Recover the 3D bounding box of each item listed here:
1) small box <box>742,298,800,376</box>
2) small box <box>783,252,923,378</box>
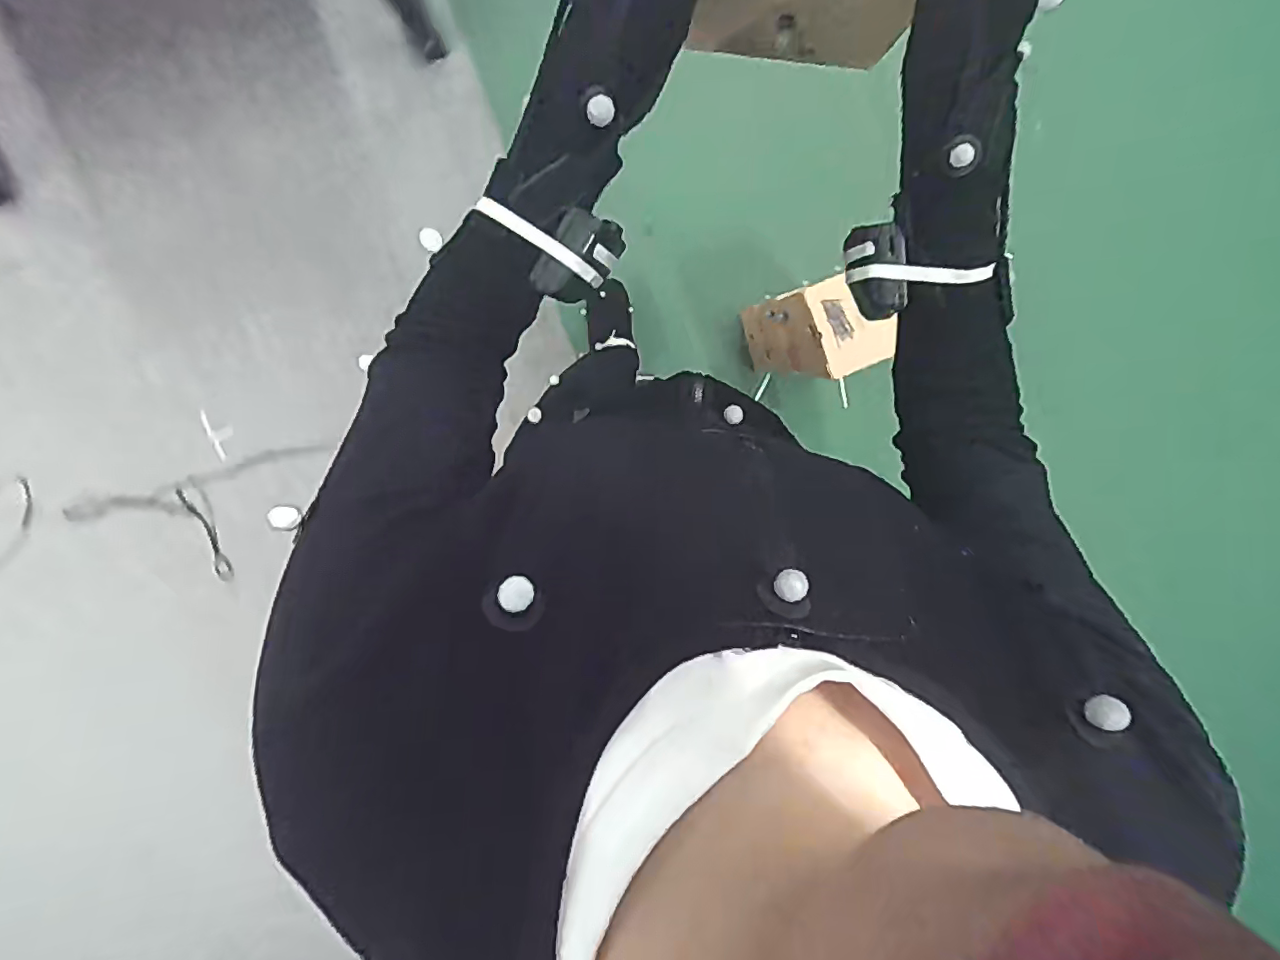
[{"bbox_3d":[0.365,-0.362,1.330,0.179,0.176,0.168,-16,102,3],"label":"small box"},{"bbox_3d":[0.383,-0.297,1.007,0.179,0.176,0.168,-22,102,3],"label":"small box"}]
